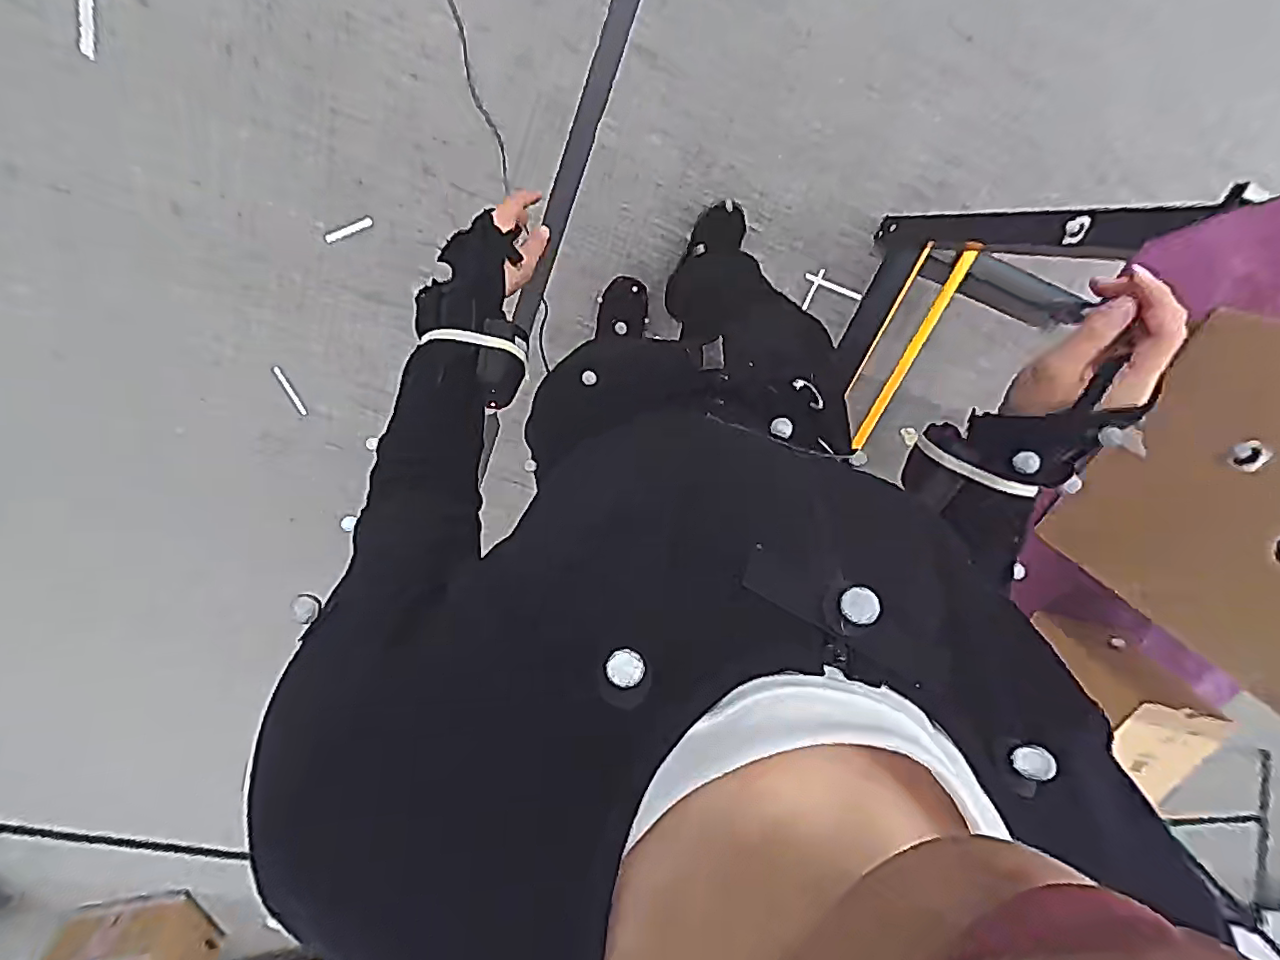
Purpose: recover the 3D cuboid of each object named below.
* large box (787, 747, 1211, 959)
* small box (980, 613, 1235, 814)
[{"bbox_3d":[0.507,0.663,0.825,0.408,0.320,0.320,17,113,-15],"label":"large box"},{"bbox_3d":[0.619,0.318,0.747,0.168,0.176,0.179,16,112,-14],"label":"small box"}]
